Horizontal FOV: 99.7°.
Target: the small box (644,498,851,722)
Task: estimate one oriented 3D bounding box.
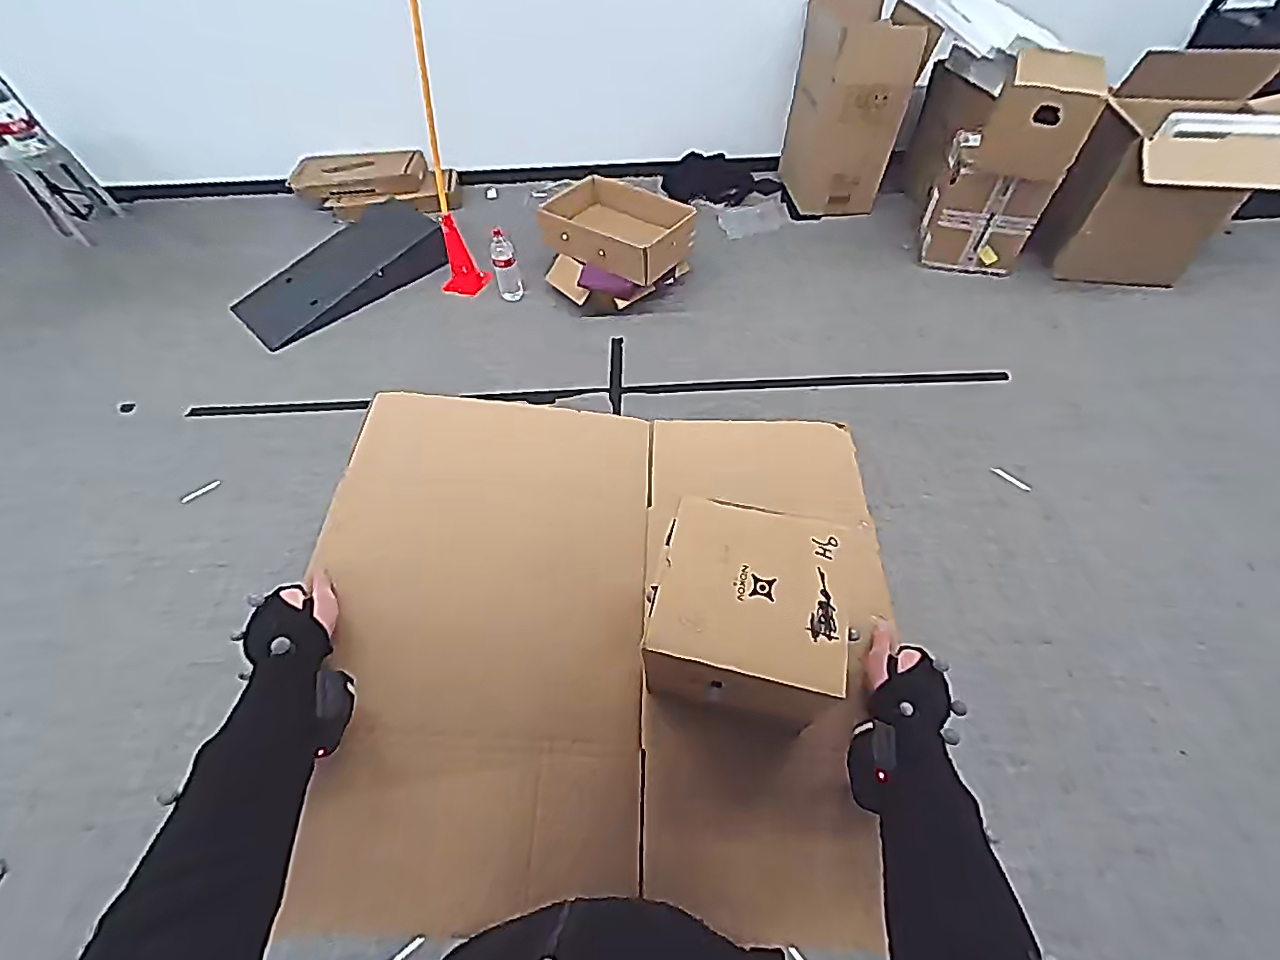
[{"bbox_3d":[0.111,0.144,0.577,0.179,0.176,0.168,10,58,11],"label":"small box"}]
